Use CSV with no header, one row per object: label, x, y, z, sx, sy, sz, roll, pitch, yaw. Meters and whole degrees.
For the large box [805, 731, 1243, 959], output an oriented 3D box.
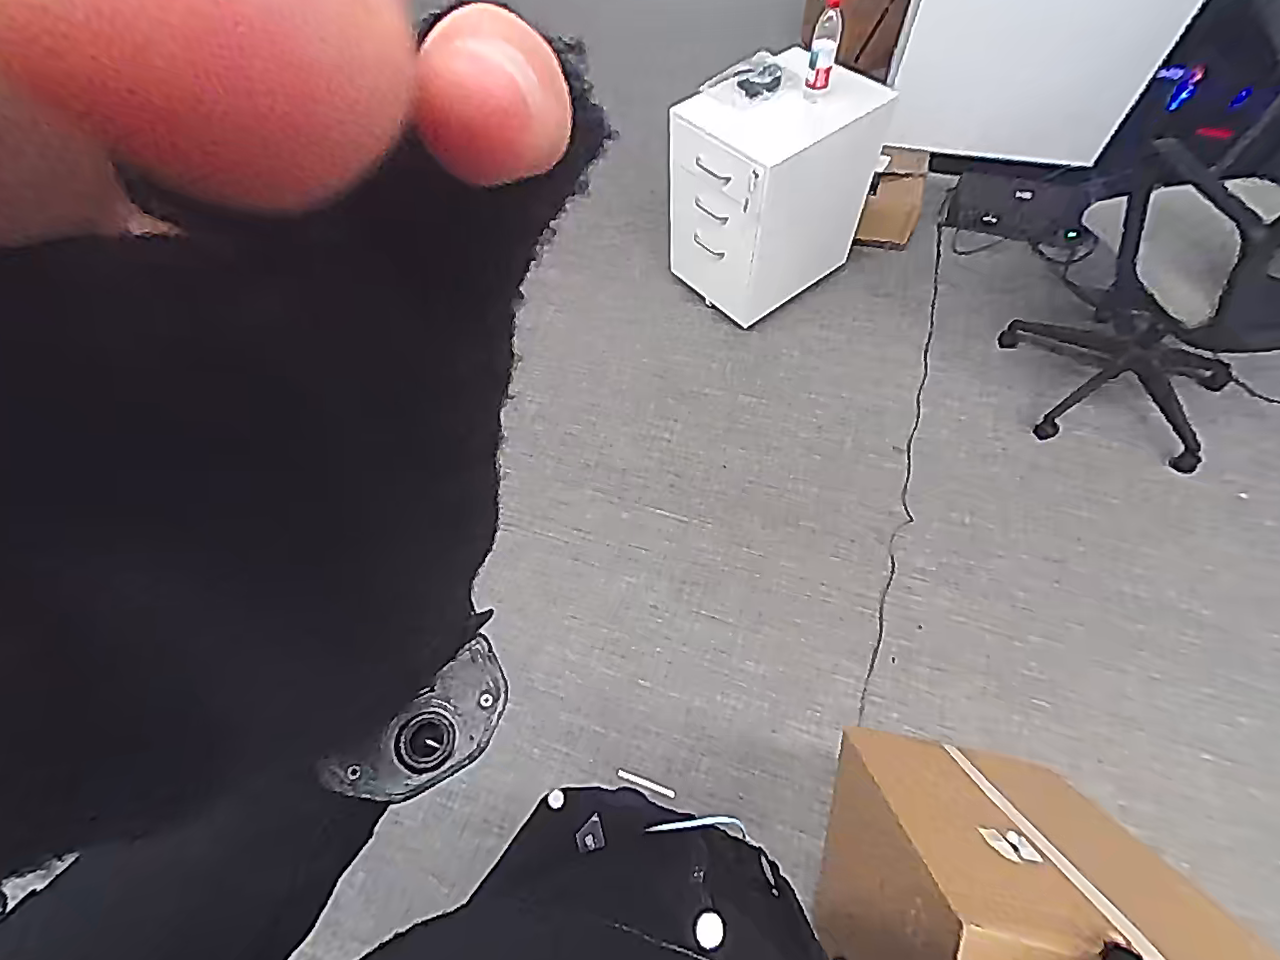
large box,0.414,0.575,0.649,0.320,0.408,0.320,11,92,7
